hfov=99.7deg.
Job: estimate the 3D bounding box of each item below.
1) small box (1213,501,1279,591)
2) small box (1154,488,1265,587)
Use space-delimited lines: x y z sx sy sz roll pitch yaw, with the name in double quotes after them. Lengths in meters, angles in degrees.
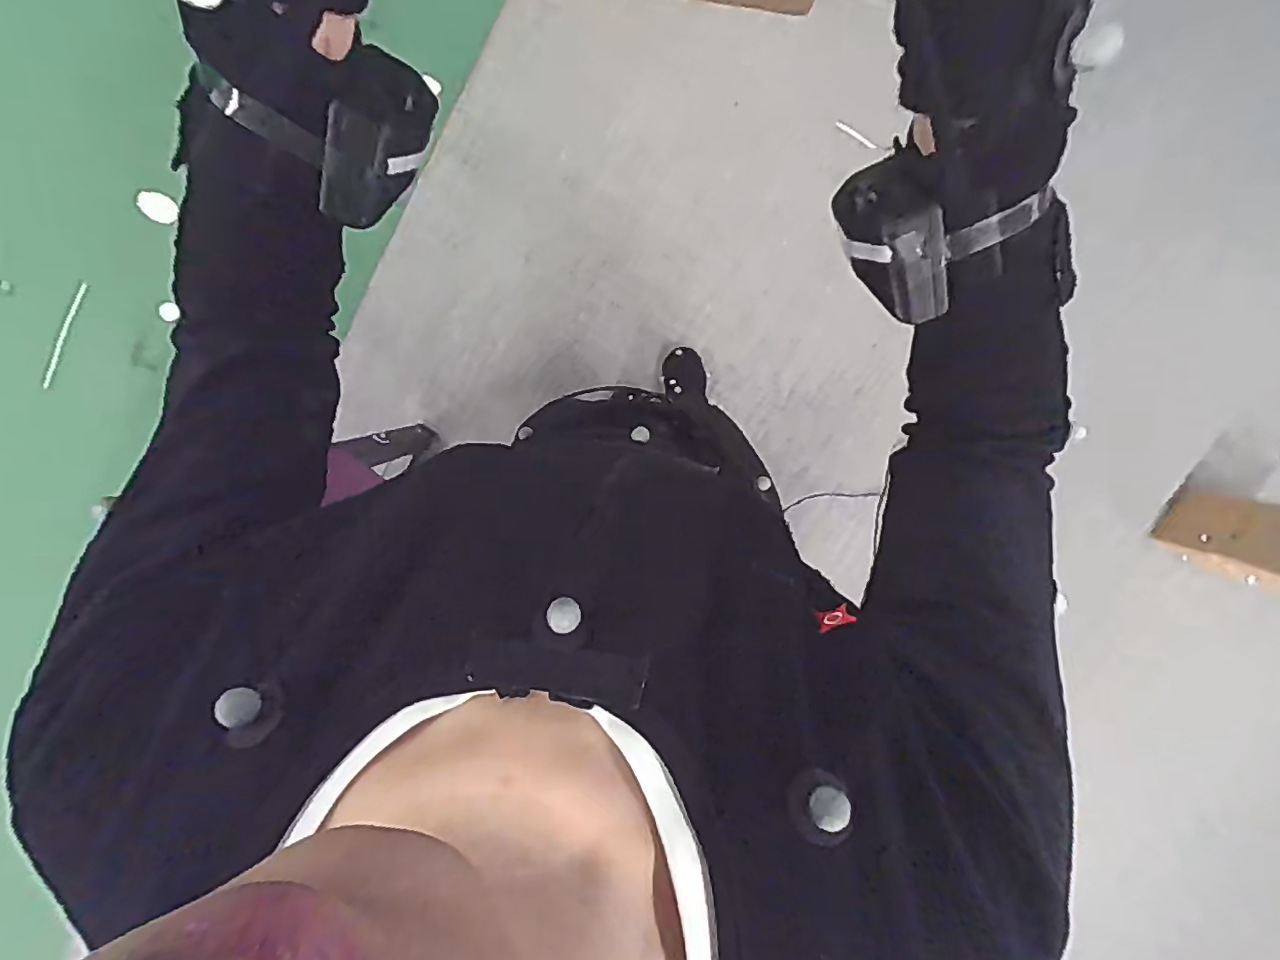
1.509 0.167 1.238 0.179 0.176 0.168 30 99 -5 "small box"
1.512 0.139 1.400 0.168 0.176 0.179 30 99 -4 "small box"
